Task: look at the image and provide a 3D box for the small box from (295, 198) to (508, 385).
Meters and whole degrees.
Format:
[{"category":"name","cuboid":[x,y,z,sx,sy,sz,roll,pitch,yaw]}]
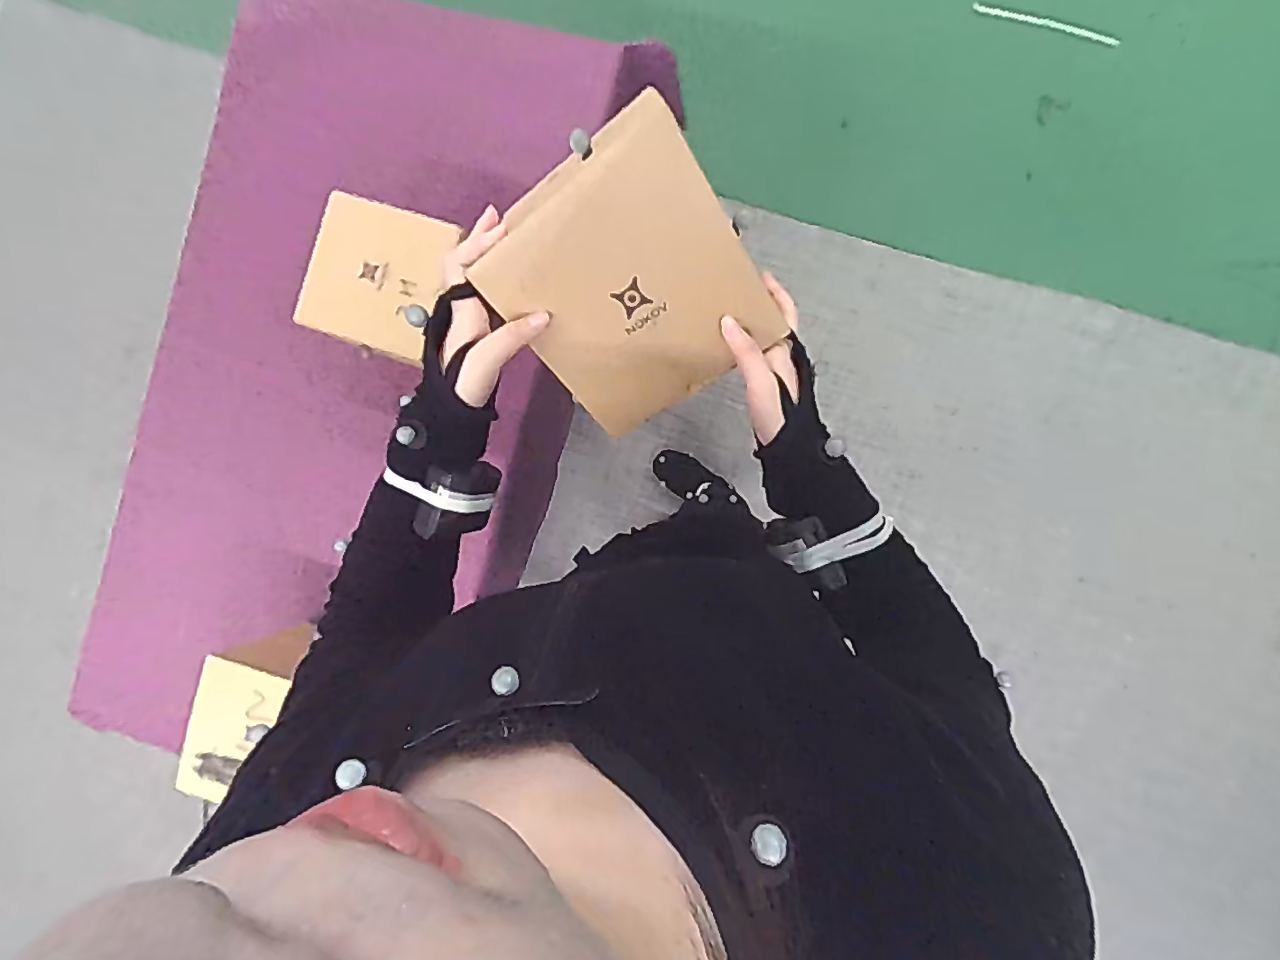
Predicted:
[{"category":"small box","cuboid":[-0.305,-0.237,0.724,0.179,0.176,0.168,19,92,5]}]
